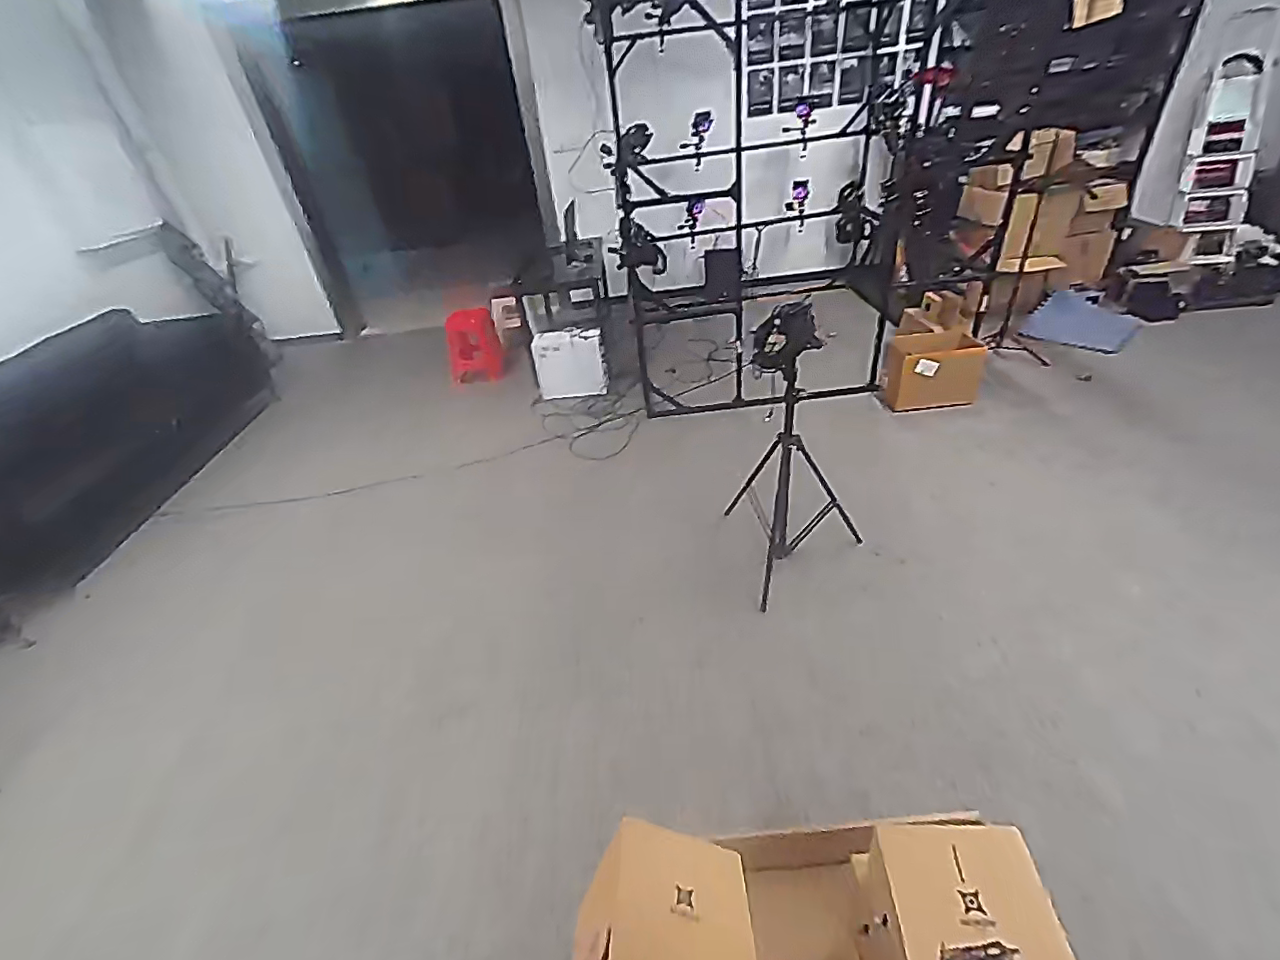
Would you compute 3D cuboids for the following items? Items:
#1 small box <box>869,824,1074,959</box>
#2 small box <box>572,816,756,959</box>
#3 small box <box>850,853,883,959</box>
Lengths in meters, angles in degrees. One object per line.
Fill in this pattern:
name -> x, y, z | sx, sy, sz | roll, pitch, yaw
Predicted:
small box -> 0.378, 0.537, 0.635 | 0.168, 0.176, 0.179 | -5, 35, 10
small box -> 0.019, 0.548, 0.626 | 0.168, 0.176, 0.179 | 21, 14, -4
small box -> 0.403, 0.651, 0.756 | 0.168, 0.176, 0.179 | -8, 35, 6
